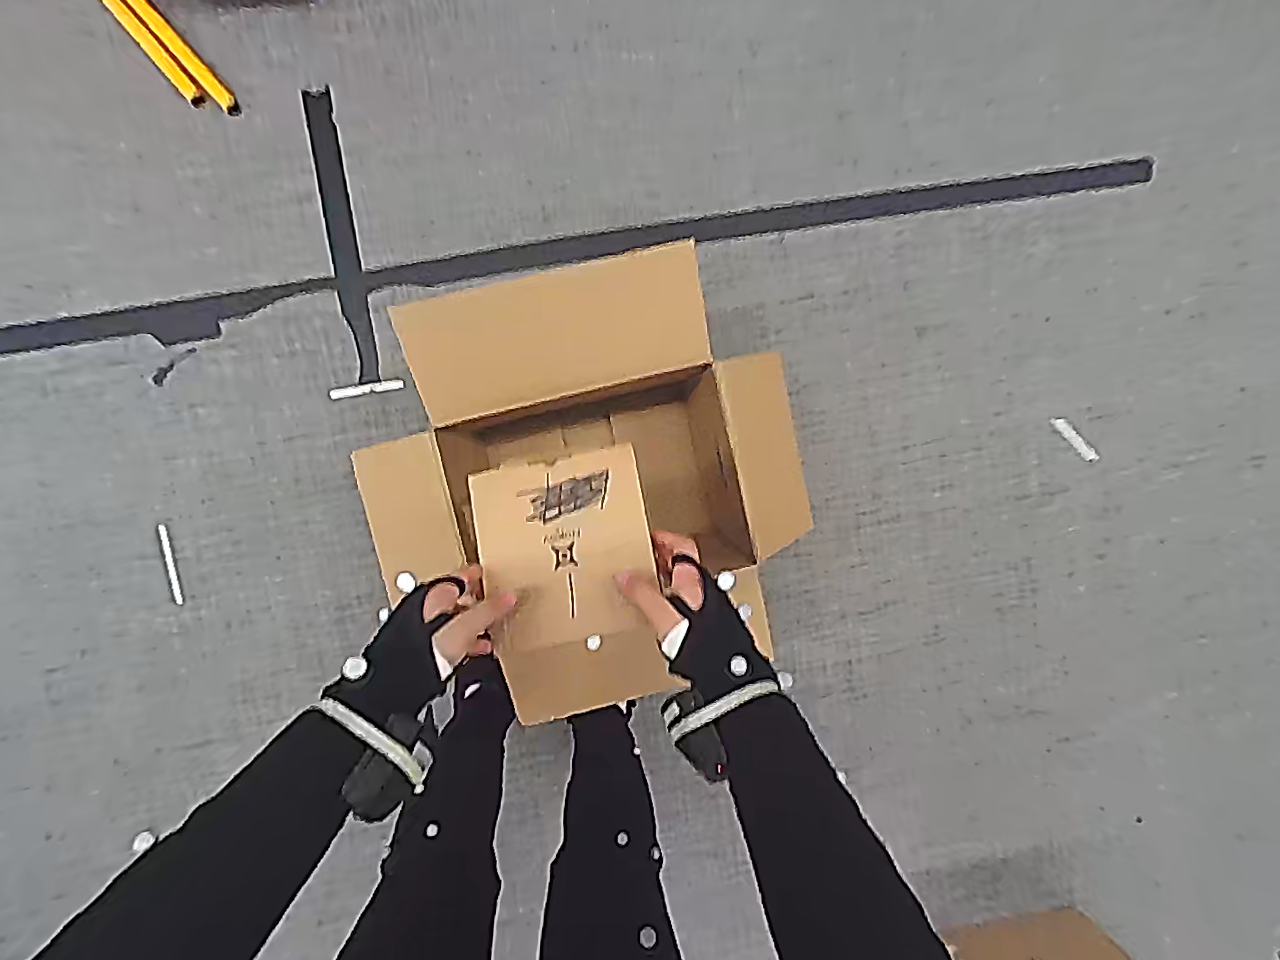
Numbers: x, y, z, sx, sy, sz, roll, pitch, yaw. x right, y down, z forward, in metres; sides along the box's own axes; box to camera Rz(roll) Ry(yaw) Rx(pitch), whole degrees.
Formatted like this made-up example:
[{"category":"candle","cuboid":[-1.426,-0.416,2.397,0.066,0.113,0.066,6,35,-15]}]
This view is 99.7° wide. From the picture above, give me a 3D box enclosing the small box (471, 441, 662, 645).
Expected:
[{"category":"small box","cuboid":[-0.071,0.074,0.599,0.168,0.176,0.179,-11,79,1]}]
